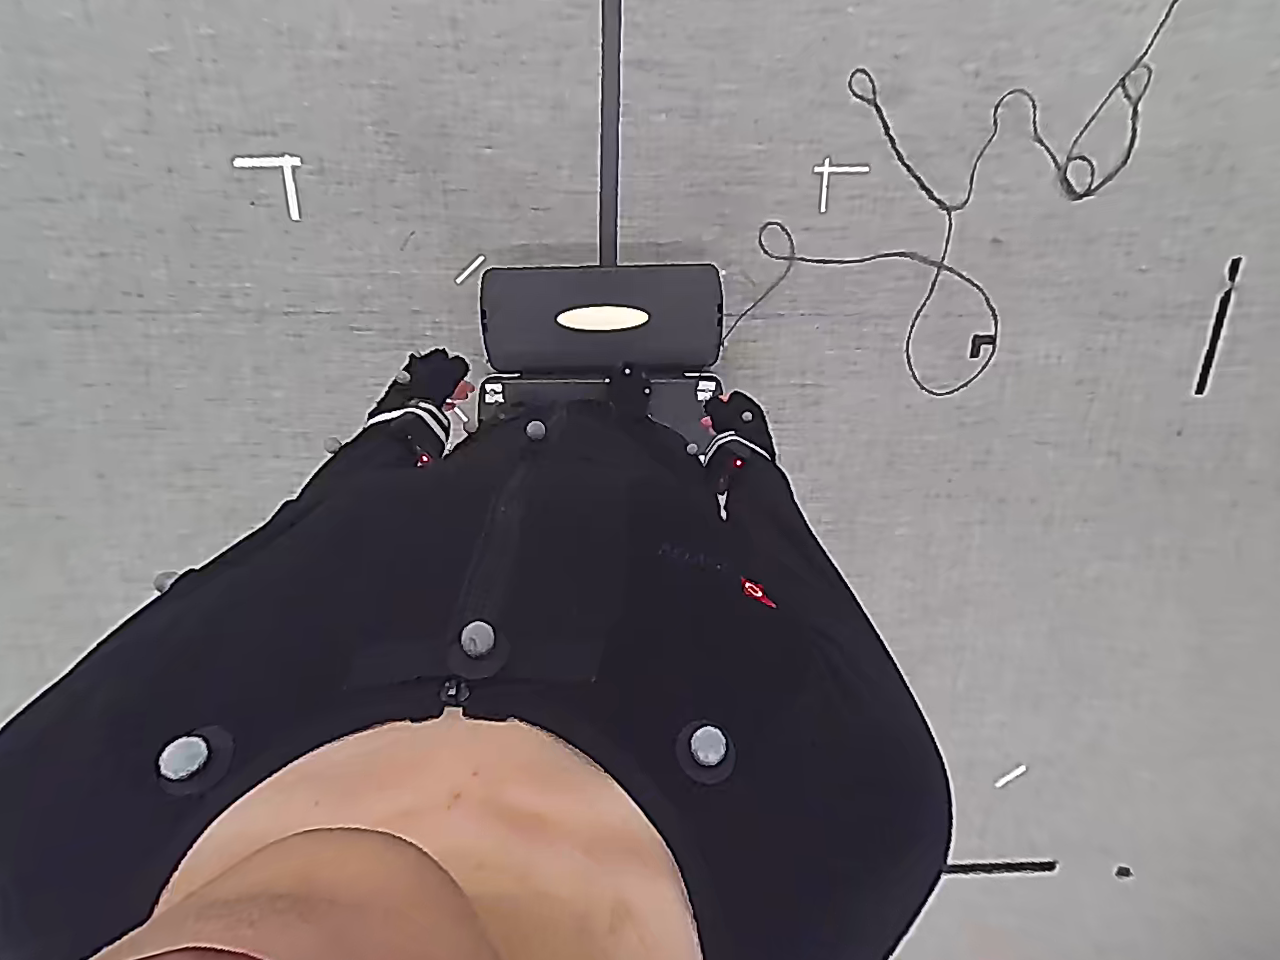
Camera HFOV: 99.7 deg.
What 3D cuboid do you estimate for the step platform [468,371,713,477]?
[{"bbox_3d":[-0.134,-0.161,1.543,0.684,0.204,0.286,-1,103,-1],"label":"step platform"}]
